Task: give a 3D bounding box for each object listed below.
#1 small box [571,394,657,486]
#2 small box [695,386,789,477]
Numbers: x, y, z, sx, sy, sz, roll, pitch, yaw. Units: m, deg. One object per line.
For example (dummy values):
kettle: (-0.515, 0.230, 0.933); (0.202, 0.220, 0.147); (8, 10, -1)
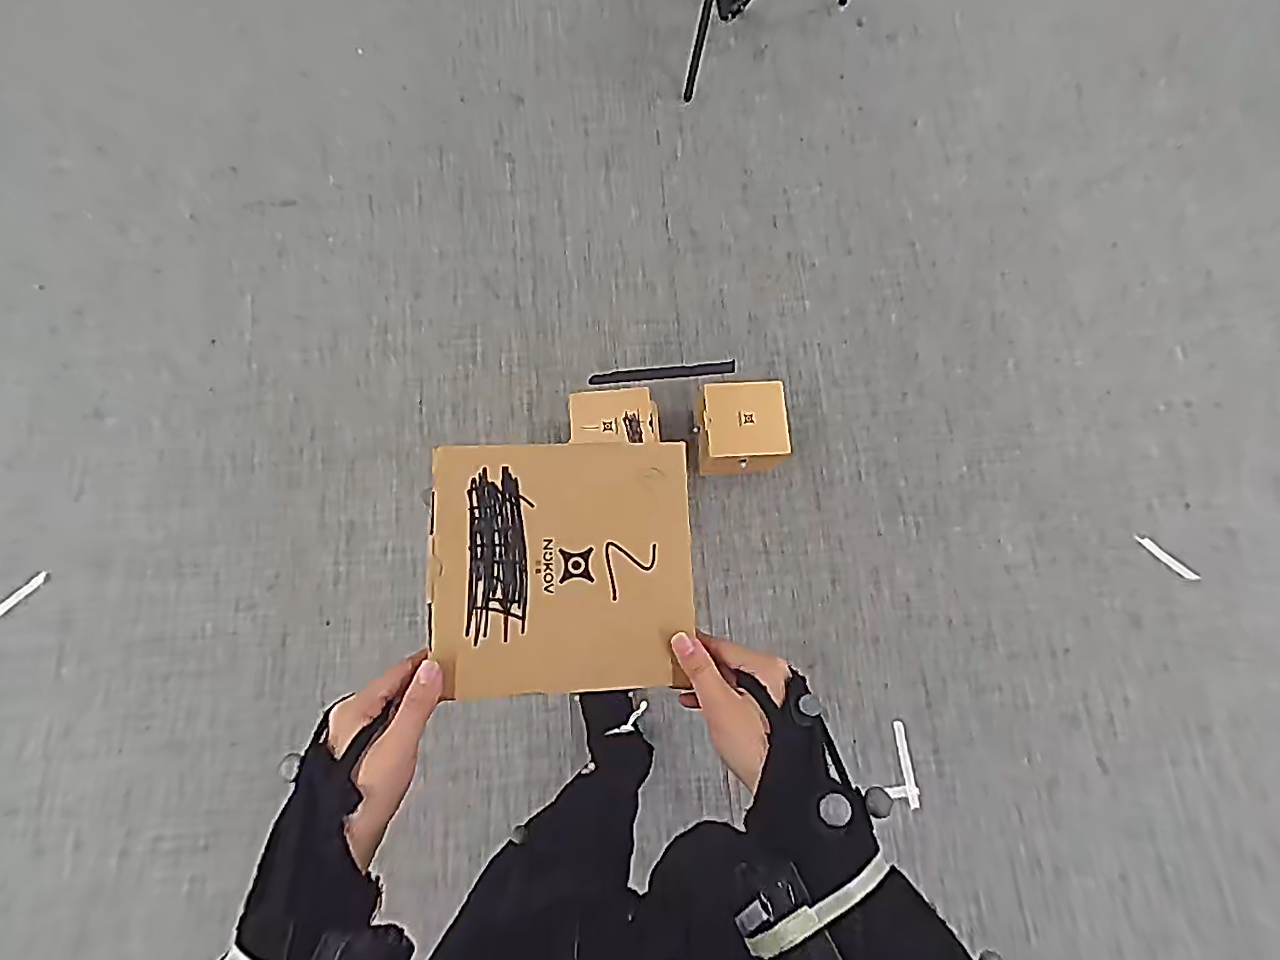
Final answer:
small box: (-0.058, -0.085, 1.226); (0.179, 0.176, 0.168); (-4, 78, -1)
small box: (0.226, -0.105, 1.236); (0.179, 0.176, 0.168); (-3, 78, -1)
